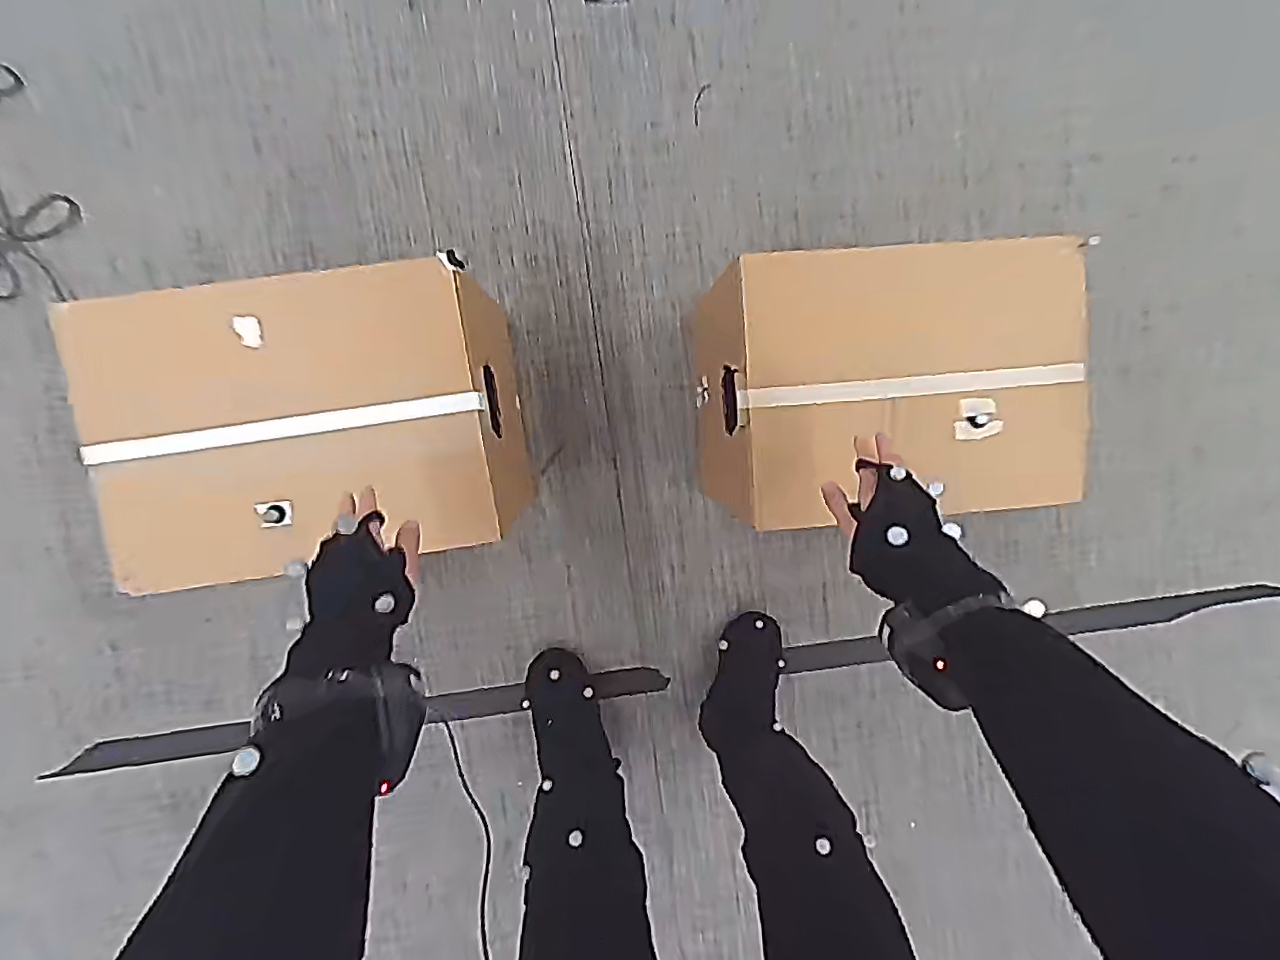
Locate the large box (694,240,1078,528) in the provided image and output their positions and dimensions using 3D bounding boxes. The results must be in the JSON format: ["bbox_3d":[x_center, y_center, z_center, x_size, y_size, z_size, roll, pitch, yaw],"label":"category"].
[{"bbox_3d":[0.310,-0.125,0.781,0.408,0.320,0.320,-5,96,-4],"label":"large box"}]
